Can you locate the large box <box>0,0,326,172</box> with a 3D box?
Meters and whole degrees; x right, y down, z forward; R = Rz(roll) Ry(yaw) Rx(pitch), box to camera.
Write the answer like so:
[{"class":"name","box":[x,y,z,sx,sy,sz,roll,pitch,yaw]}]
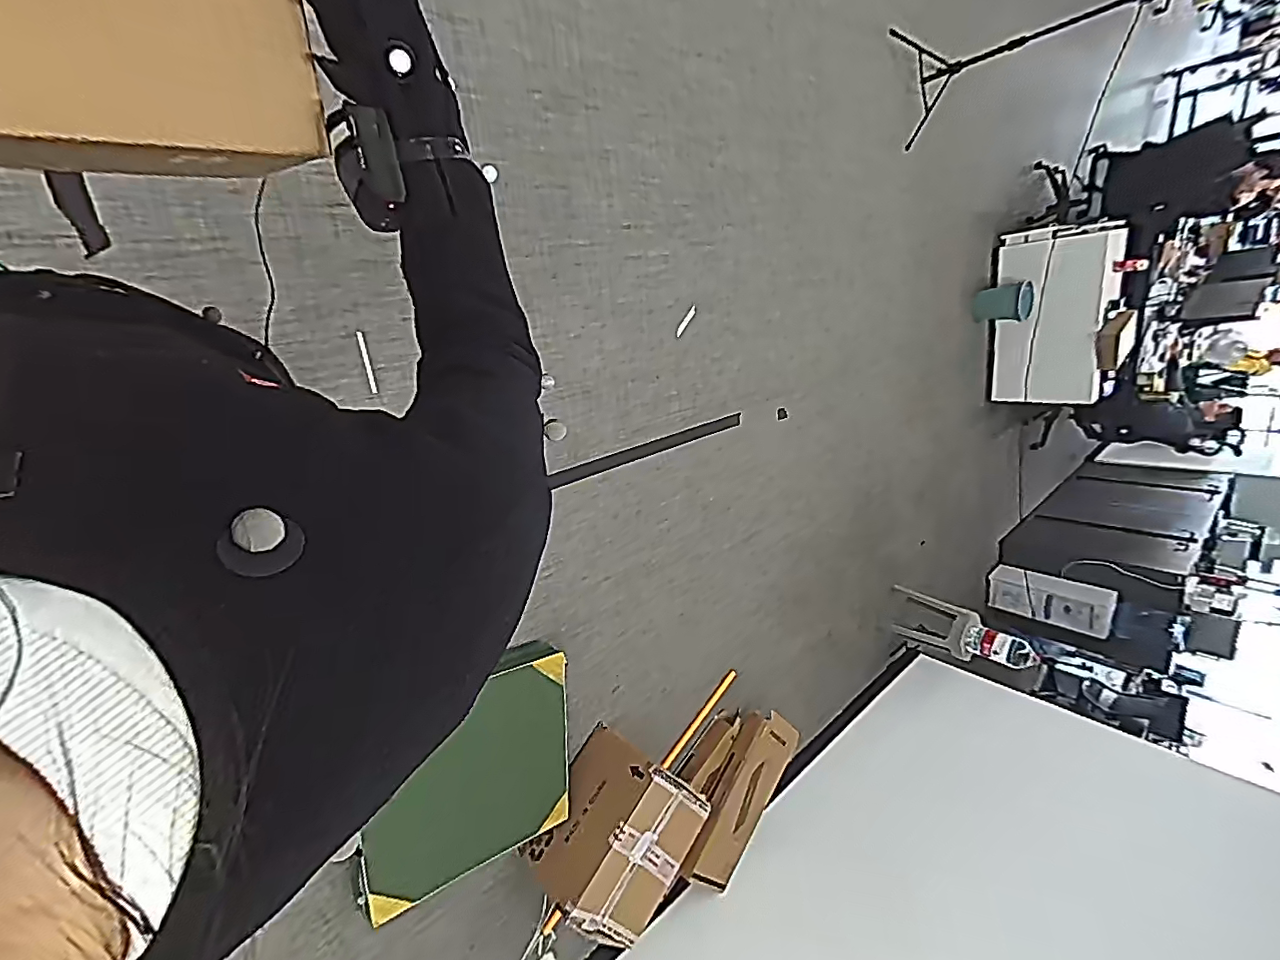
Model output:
[{"class":"large box","box":[-0.465,-0.357,0.296,0.408,0.320,0.320,-21,124,-36]}]
